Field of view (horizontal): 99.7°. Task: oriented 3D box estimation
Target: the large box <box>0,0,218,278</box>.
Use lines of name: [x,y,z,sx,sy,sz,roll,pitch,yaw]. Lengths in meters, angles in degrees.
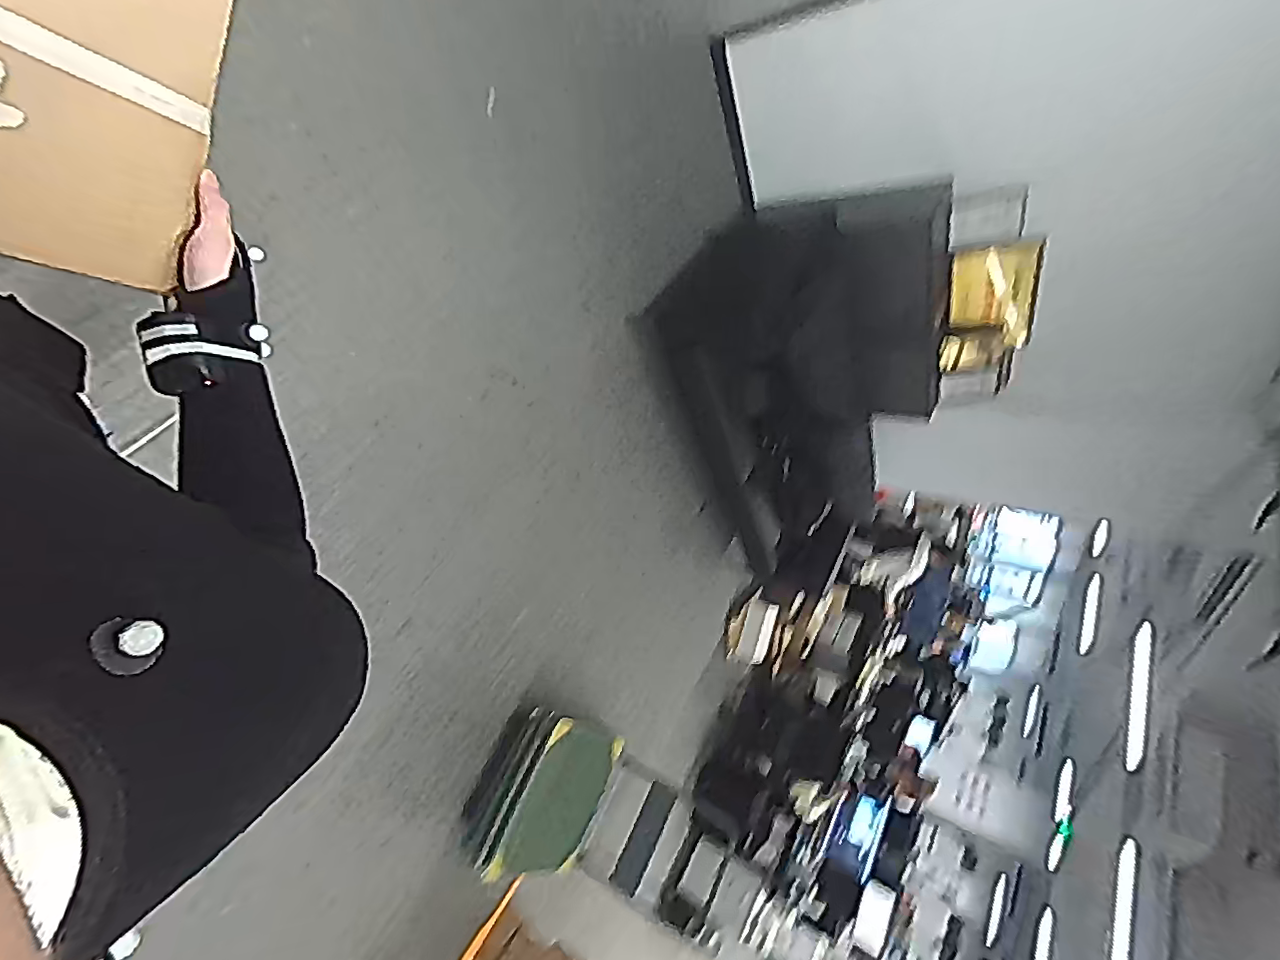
large box: [-0.608,-0.386,0.384,0.408,0.320,0.320,0,116,-56]
